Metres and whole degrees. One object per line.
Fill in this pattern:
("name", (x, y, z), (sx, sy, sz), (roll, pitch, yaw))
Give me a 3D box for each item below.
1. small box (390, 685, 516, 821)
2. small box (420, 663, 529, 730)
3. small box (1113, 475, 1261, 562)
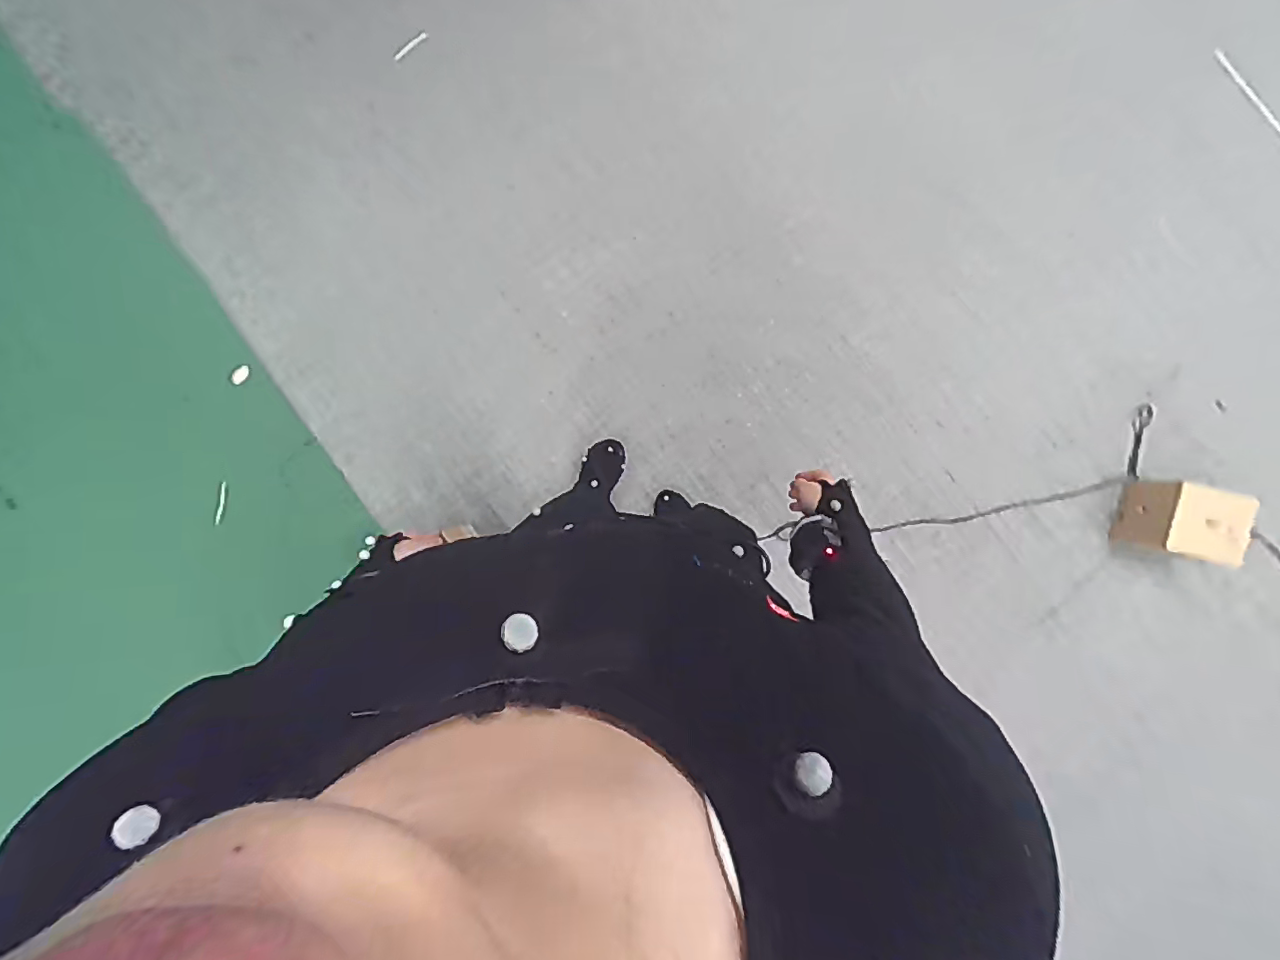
("small box", (-0.405, 0.597, 1.206), (0.179, 0.176, 0.168), (-42, 87, 0))
("small box", (-0.411, 0.601, 1.371), (0.179, 0.176, 0.168), (-40, 87, 1))
("small box", (1.323, 0.089, 1.323), (0.179, 0.176, 0.168), (14, 92, 3))
